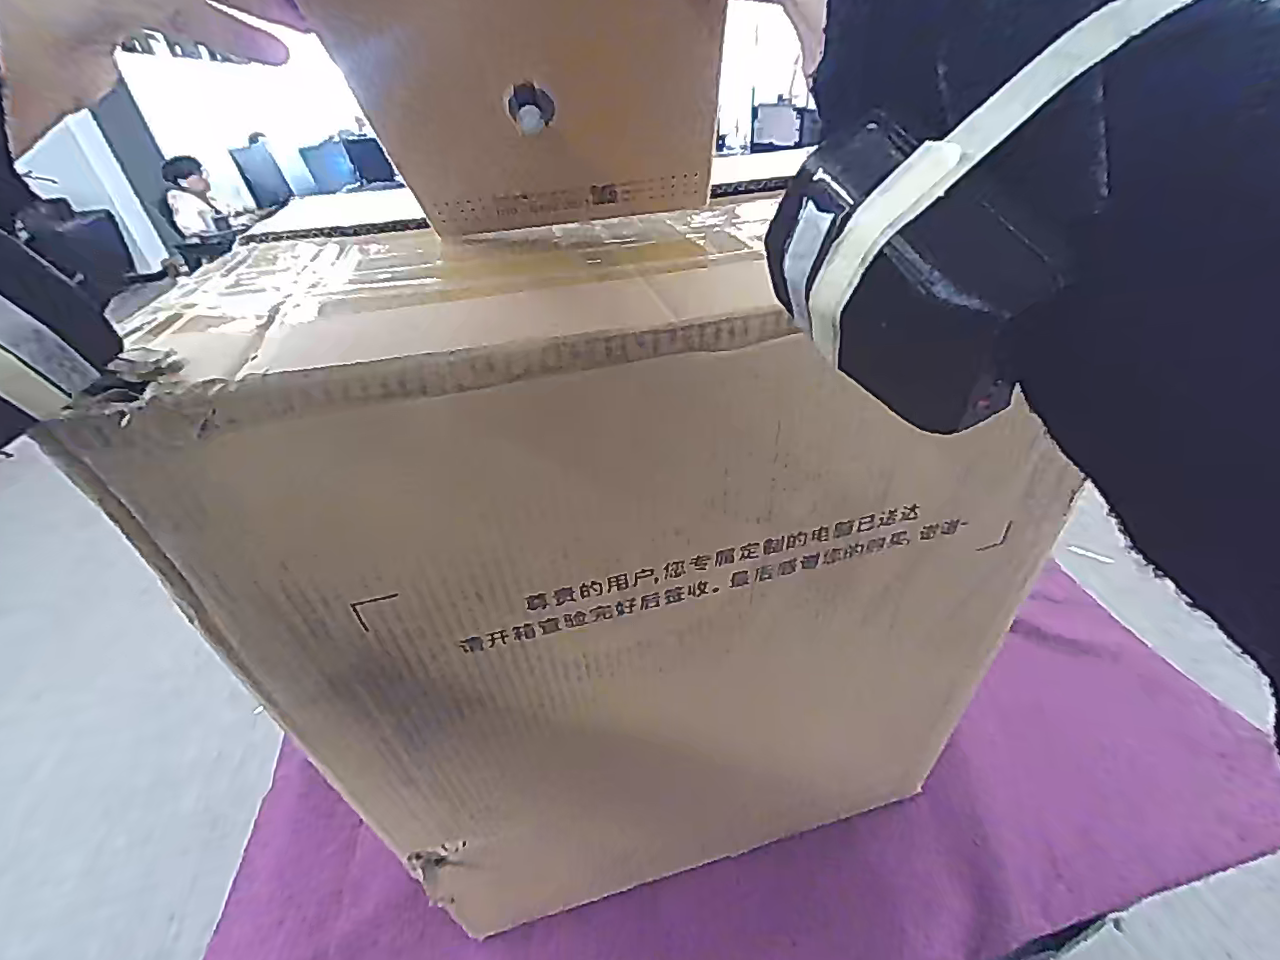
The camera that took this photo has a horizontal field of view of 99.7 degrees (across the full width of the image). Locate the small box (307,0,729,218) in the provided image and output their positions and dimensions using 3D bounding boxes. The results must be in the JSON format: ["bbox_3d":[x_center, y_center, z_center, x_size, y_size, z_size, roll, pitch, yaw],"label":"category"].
[{"bbox_3d":[-0.047,-0.256,0.268,0.168,0.176,0.179,-6,76,1],"label":"small box"}]
